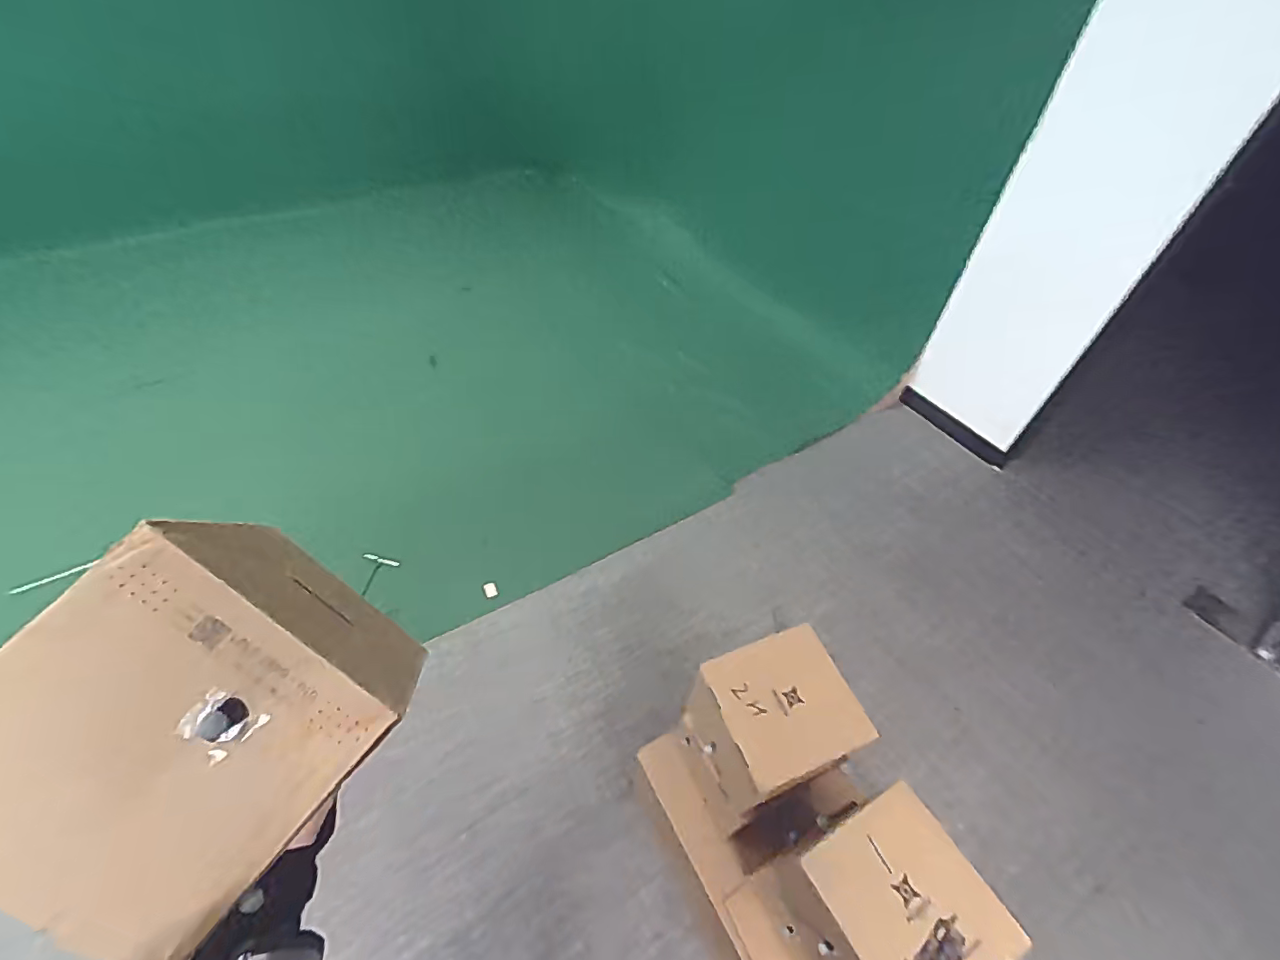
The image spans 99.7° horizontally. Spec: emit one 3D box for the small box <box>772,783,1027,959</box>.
[{"bbox_3d":[0.281,0.495,0.629,0.168,0.176,0.179,-22,52,-20],"label":"small box"}]

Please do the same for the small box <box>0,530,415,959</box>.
[{"bbox_3d":[-0.271,0.145,0.354,0.168,0.179,0.176,42,74,-9],"label":"small box"}]
